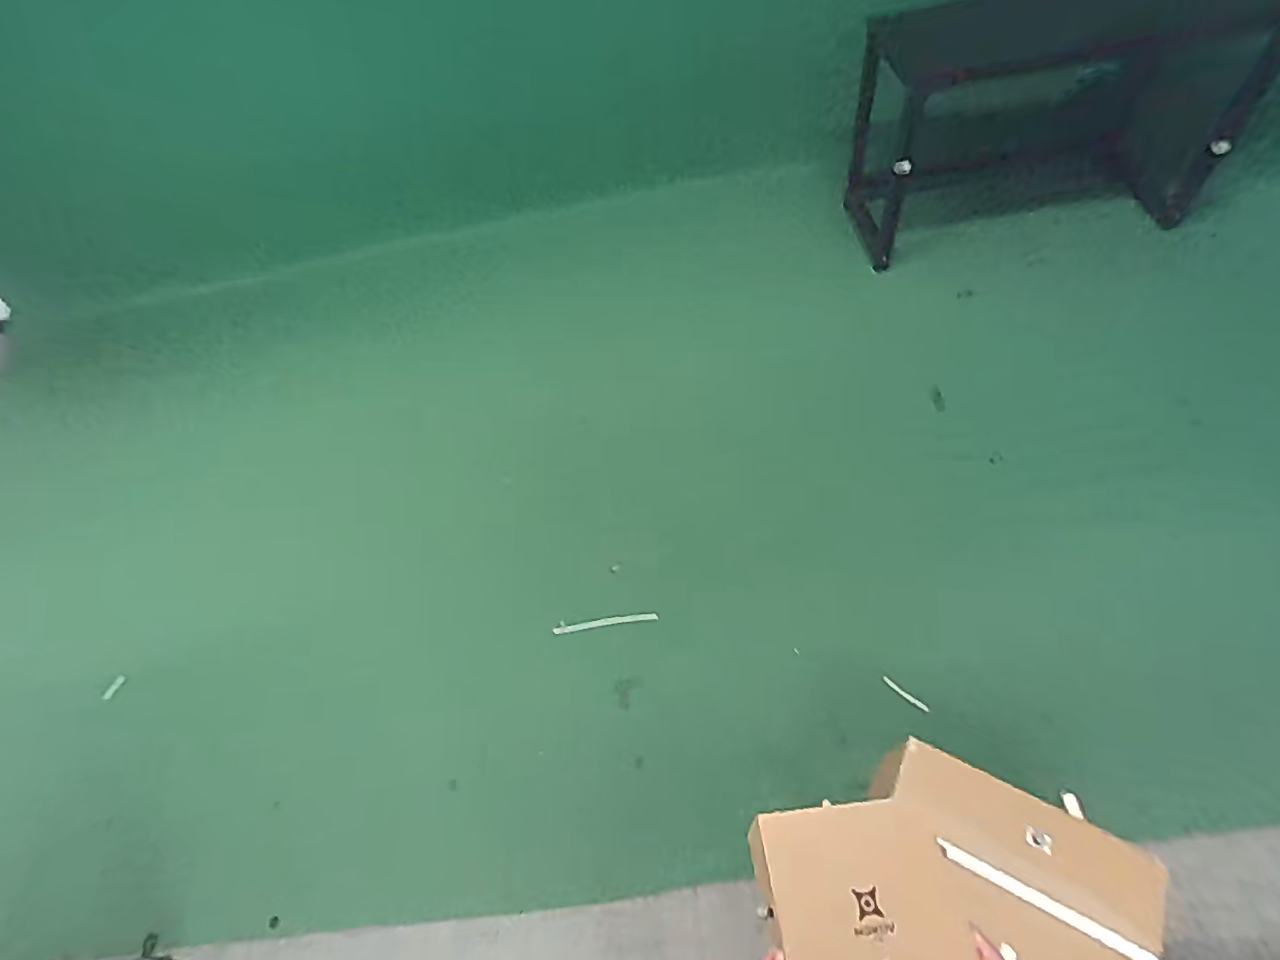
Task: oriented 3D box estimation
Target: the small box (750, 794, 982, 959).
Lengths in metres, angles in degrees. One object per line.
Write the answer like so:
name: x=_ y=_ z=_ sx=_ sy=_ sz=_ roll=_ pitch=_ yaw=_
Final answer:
small box: x=0.211 y=0.436 z=0.541 sx=0.168 sy=0.176 sz=0.179 roll=-8 pitch=51 yaw=1
